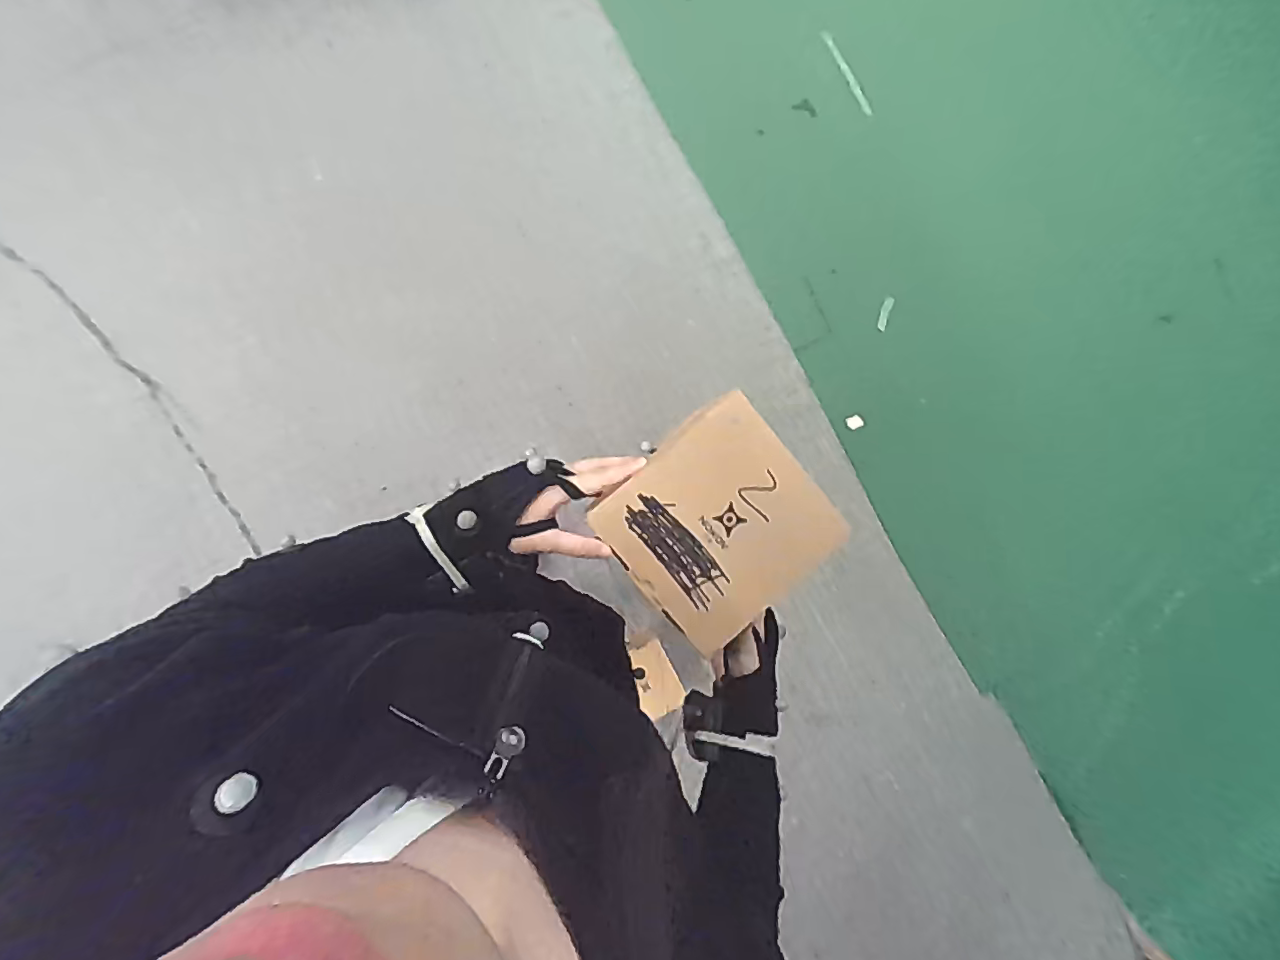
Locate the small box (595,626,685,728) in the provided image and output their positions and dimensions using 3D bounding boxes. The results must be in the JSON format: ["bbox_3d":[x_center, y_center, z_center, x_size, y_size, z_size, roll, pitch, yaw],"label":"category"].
[{"bbox_3d":[-0.006,0.509,1.423,0.168,0.176,0.179,-28,88,-11],"label":"small box"}]
